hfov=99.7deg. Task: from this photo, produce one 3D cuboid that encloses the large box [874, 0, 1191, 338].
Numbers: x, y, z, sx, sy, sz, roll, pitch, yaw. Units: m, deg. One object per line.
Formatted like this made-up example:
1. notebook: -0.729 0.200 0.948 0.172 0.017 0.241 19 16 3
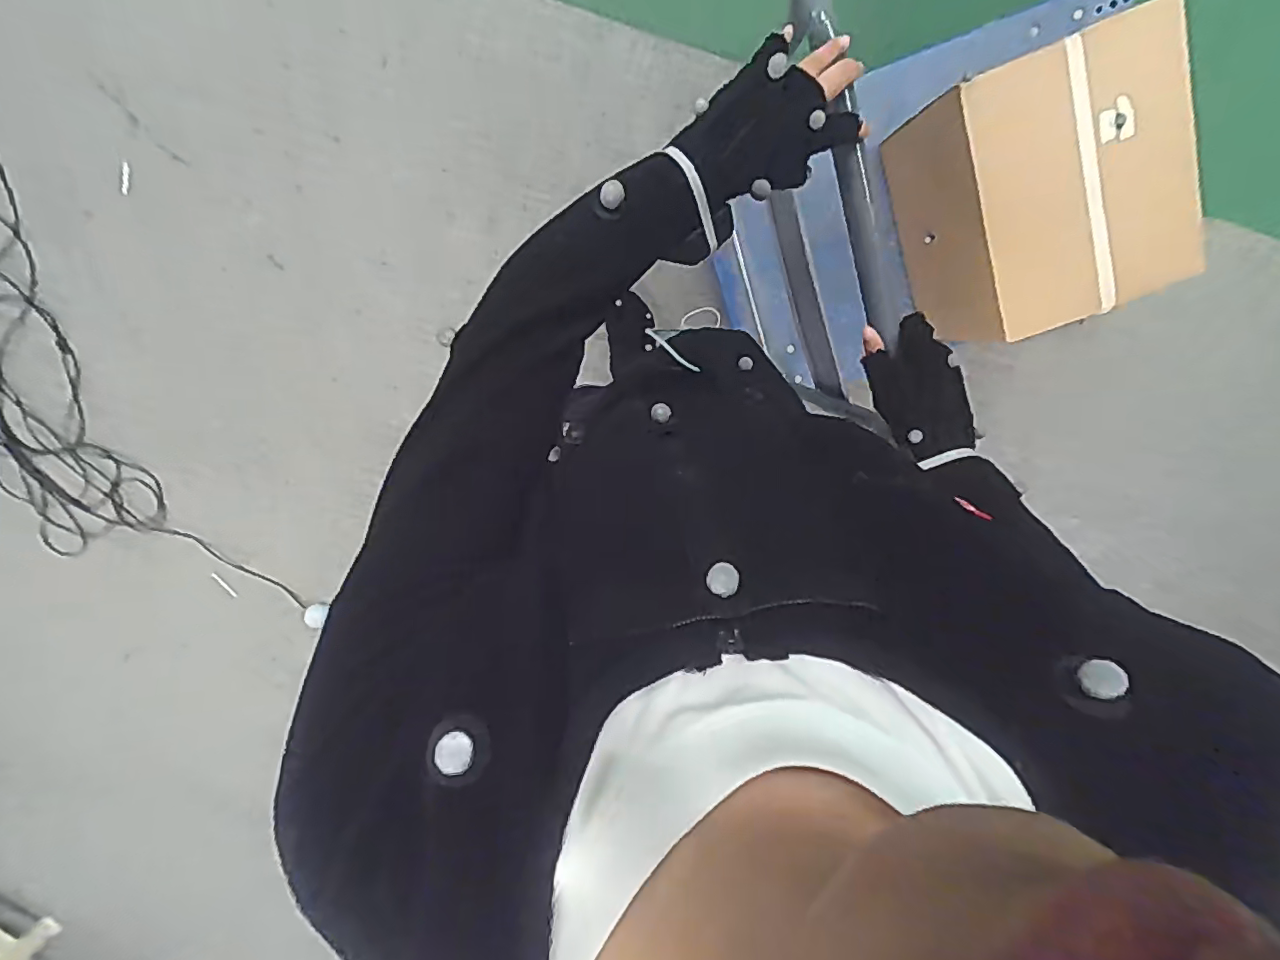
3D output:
1. large box: 0.679 -0.508 0.985 0.320 0.320 0.408 -20 104 7
